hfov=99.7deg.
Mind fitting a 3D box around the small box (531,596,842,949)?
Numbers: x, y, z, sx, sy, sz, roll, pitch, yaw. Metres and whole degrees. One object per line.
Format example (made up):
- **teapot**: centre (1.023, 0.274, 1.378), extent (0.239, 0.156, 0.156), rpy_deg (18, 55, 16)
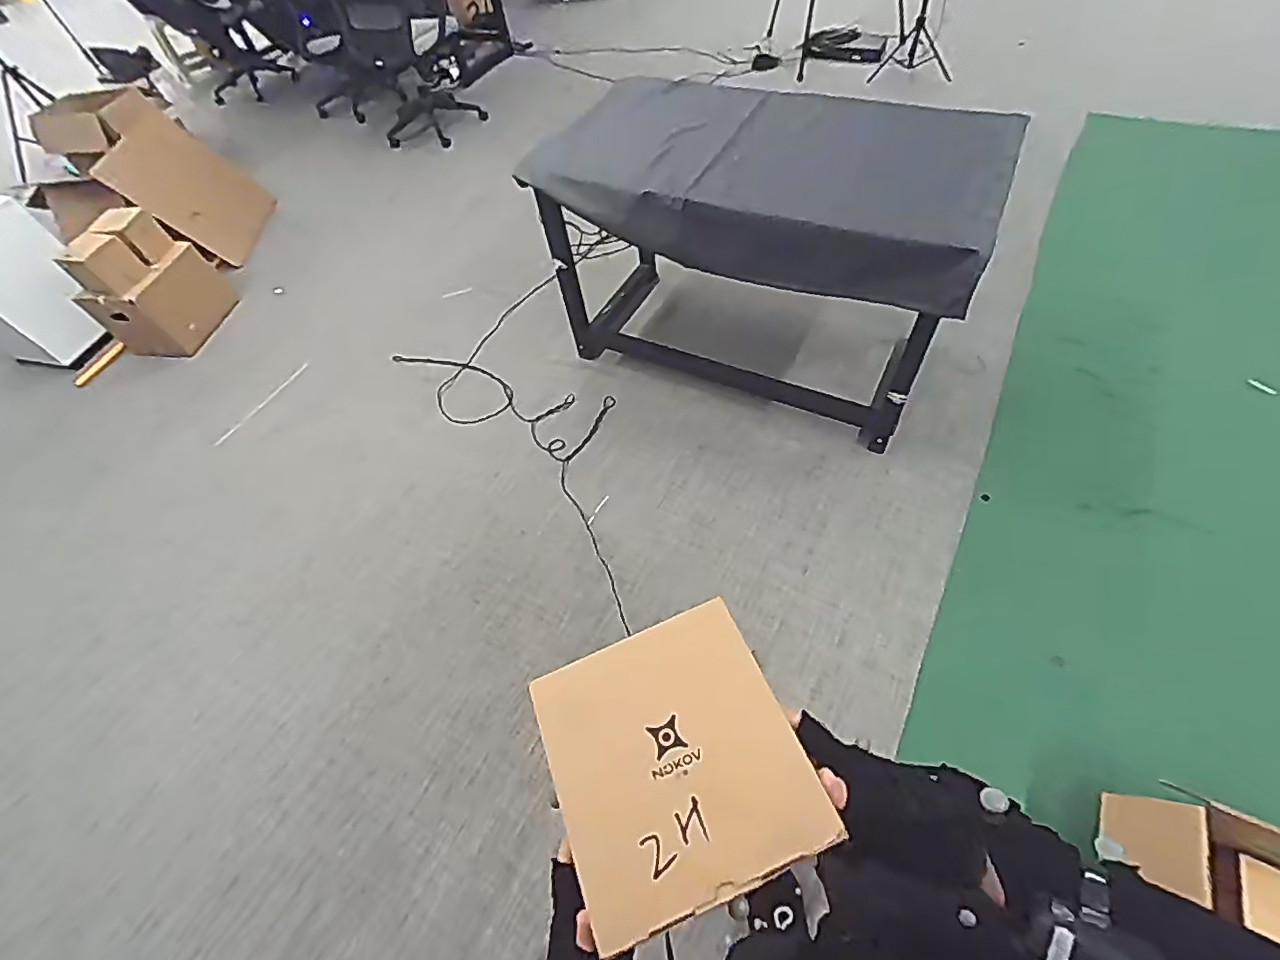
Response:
- **small box**: centre (0.031, 0.229, 0.434), extent (0.168, 0.176, 0.179), rpy_deg (-23, 54, -5)
